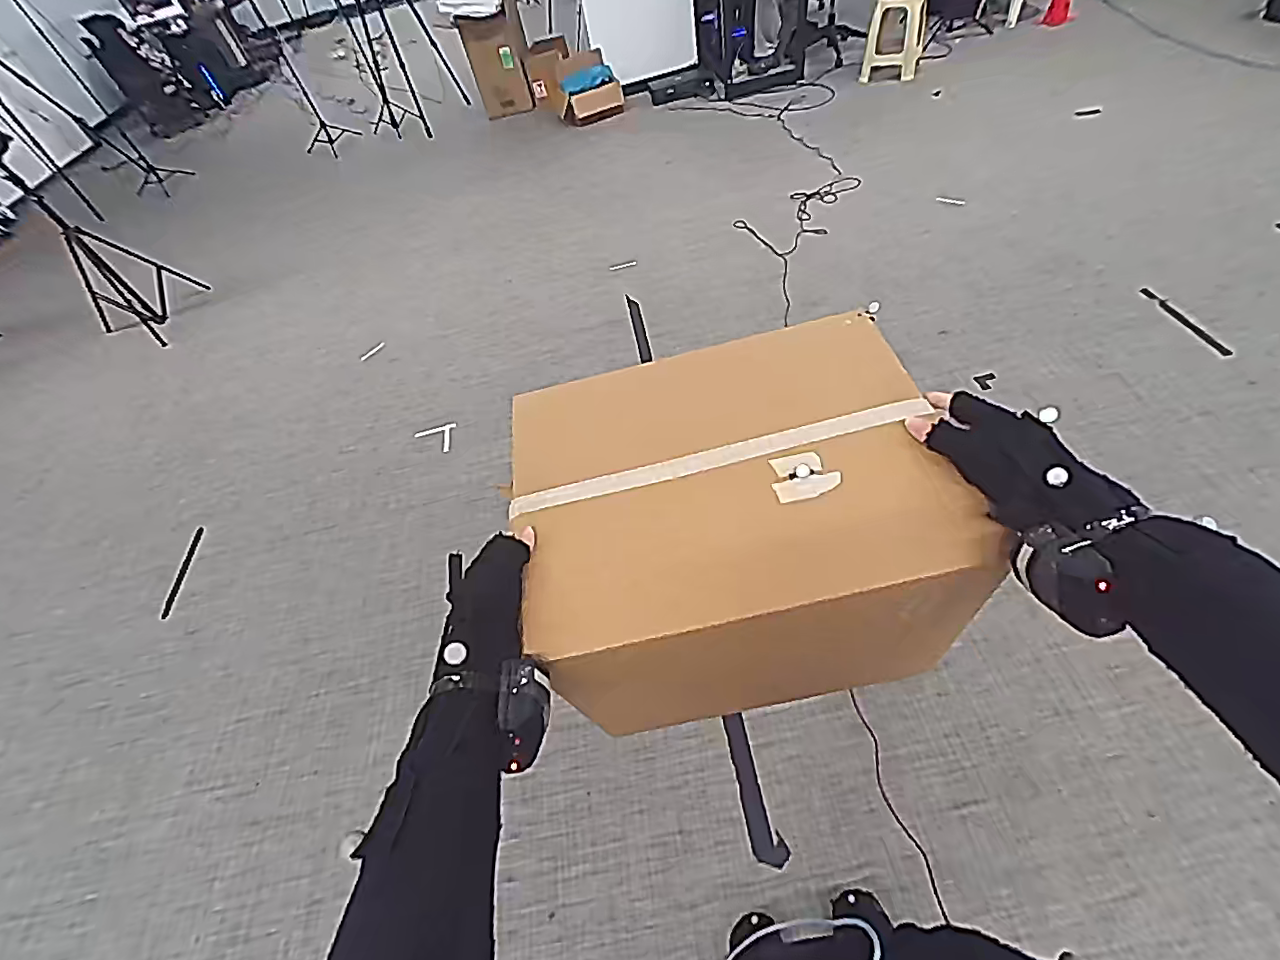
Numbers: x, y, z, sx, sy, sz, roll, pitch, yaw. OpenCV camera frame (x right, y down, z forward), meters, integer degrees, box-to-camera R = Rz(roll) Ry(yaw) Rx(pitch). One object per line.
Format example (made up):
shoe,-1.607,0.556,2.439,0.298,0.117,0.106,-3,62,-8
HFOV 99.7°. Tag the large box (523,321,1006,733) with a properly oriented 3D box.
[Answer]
large box,0.105,0.071,0.648,0.408,0.320,0.320,-13,54,2
